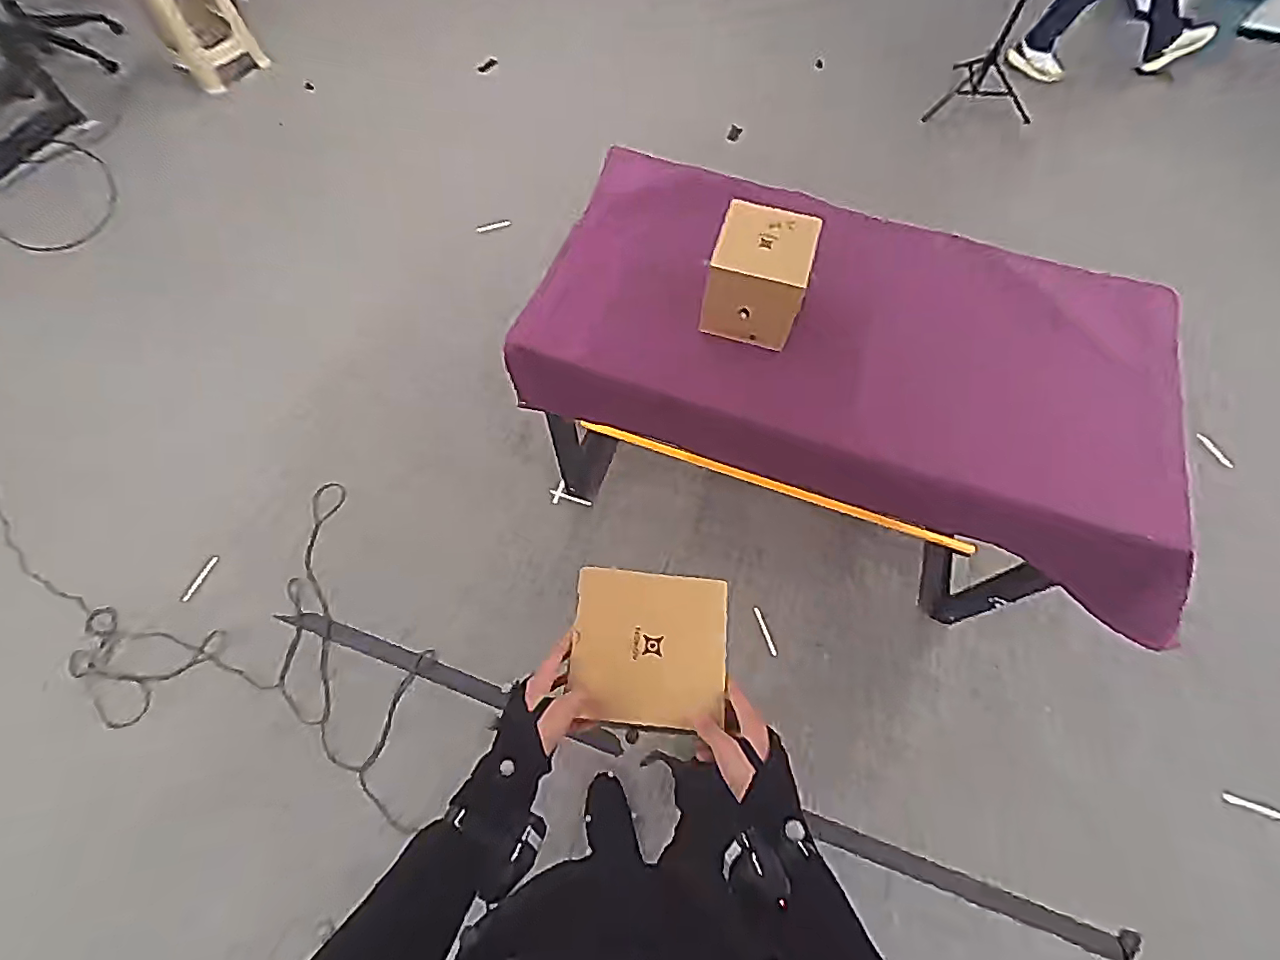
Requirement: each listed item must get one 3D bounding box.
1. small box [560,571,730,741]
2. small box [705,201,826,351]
[{"bbox_3d":[0.007,0.221,0.666,0.179,0.176,0.168,5,64,0],"label":"small box"},{"bbox_3d":[0.223,-0.368,0.996,0.168,0.176,0.179,17,65,6],"label":"small box"}]
